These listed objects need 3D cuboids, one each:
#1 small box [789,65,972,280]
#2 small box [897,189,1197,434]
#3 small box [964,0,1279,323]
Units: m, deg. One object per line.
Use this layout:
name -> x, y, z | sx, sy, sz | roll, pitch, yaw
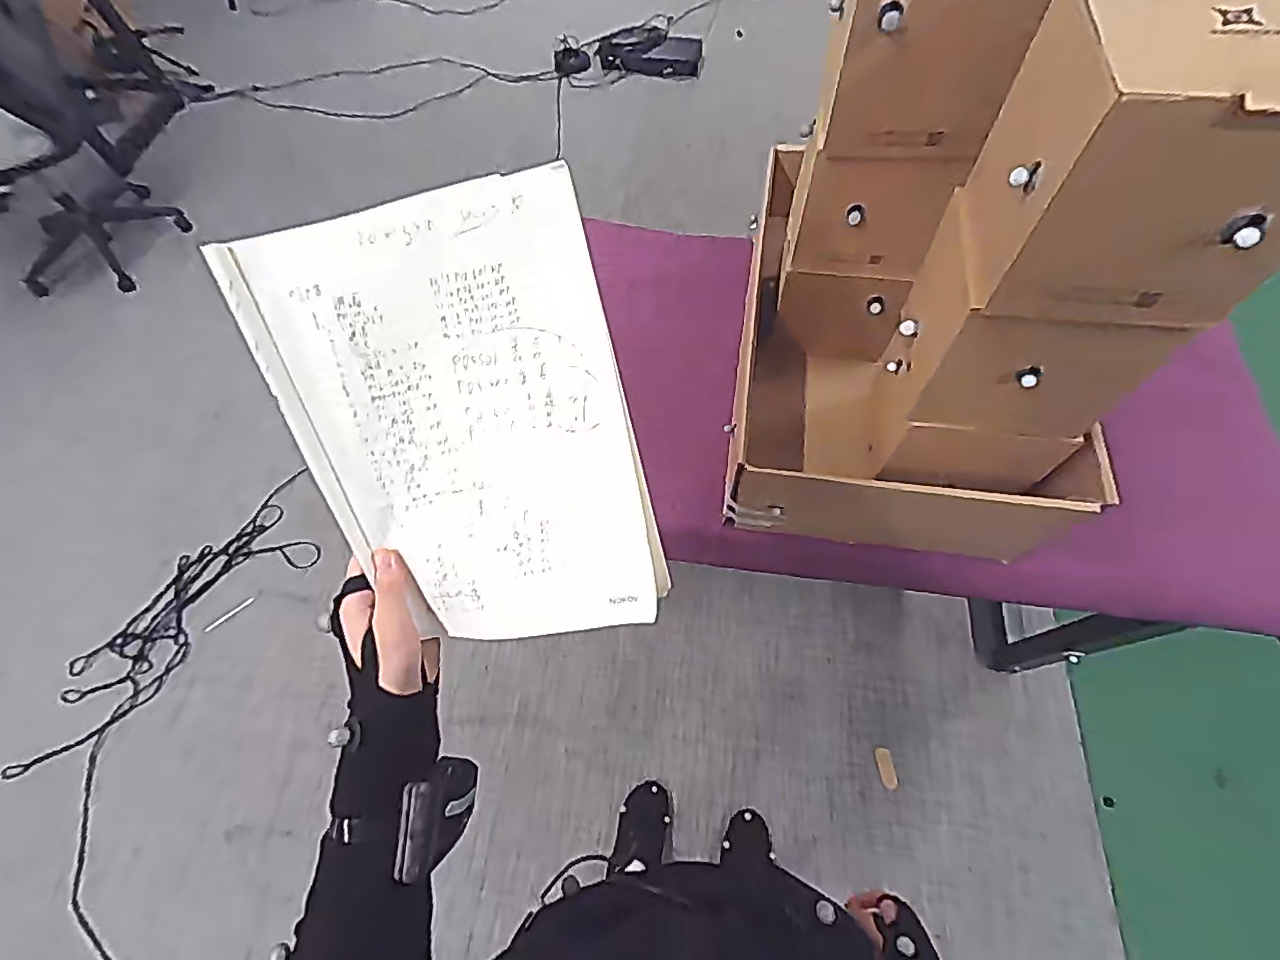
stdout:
small box -> 0.286, -0.375, 0.673 | 0.168, 0.176, 0.179 | 8, 65, 9
small box -> 0.379, -0.163, 0.546 | 0.179, 0.176, 0.168 | 7, 62, 10
small box -> 0.367, -0.240, 0.403 | 0.168, 0.176, 0.179 | 8, 61, 10
